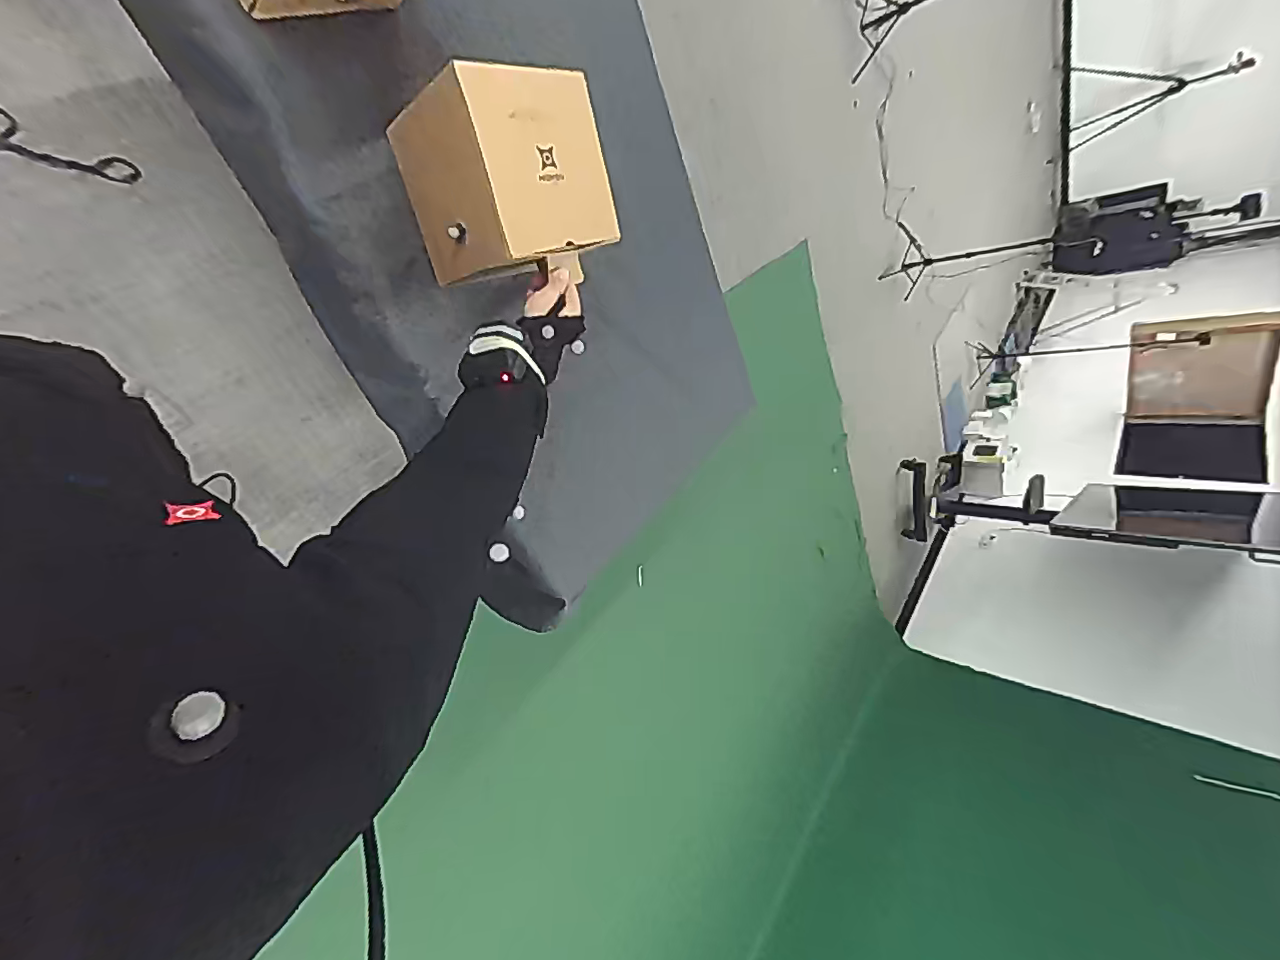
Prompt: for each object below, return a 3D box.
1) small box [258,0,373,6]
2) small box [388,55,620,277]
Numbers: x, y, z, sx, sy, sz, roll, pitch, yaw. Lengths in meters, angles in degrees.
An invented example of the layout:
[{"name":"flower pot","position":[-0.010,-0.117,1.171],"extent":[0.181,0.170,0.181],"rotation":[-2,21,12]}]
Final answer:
[{"name":"small box","position":[-0.290,-0.549,0.453],"extent":[0.168,0.176,0.179],"rotation":[-44,126,-35]},{"name":"small box","position":[-0.154,-0.343,0.620],"extent":[0.168,0.176,0.179],"rotation":[-32,115,-39]}]
